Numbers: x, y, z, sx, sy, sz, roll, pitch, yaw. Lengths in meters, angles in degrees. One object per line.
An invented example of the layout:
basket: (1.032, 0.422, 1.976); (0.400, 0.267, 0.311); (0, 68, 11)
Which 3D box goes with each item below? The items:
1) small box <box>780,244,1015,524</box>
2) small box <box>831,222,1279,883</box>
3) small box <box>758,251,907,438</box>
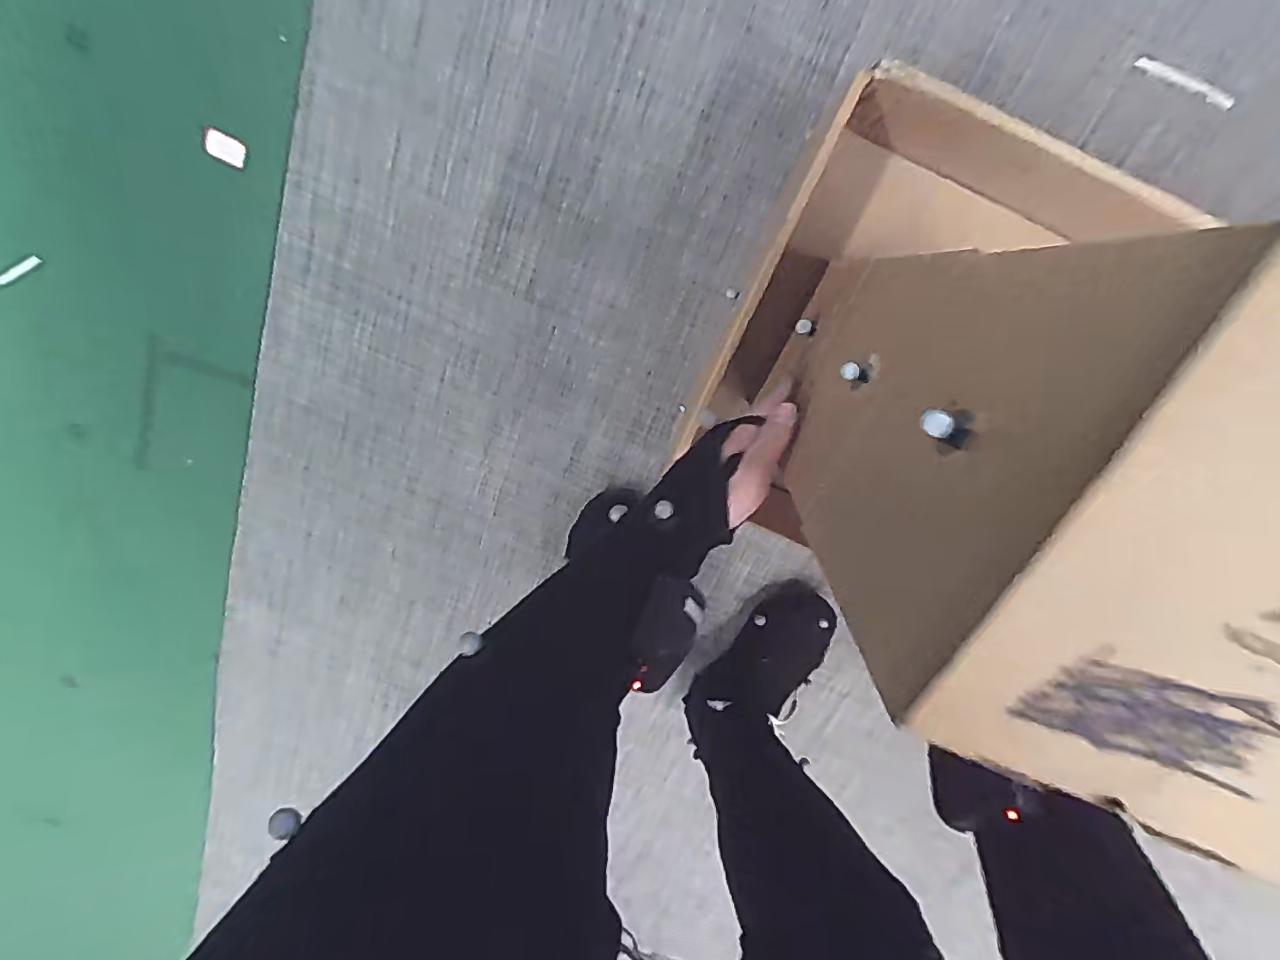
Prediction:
small box: (0.220, -0.045, 0.389); (0.168, 0.176, 0.179); (25, 111, -5)
small box: (0.205, 0.015, 0.237); (0.168, 0.176, 0.179); (24, 110, -4)
small box: (0.234, -0.105, 0.540); (0.168, 0.176, 0.179); (25, 110, -5)
